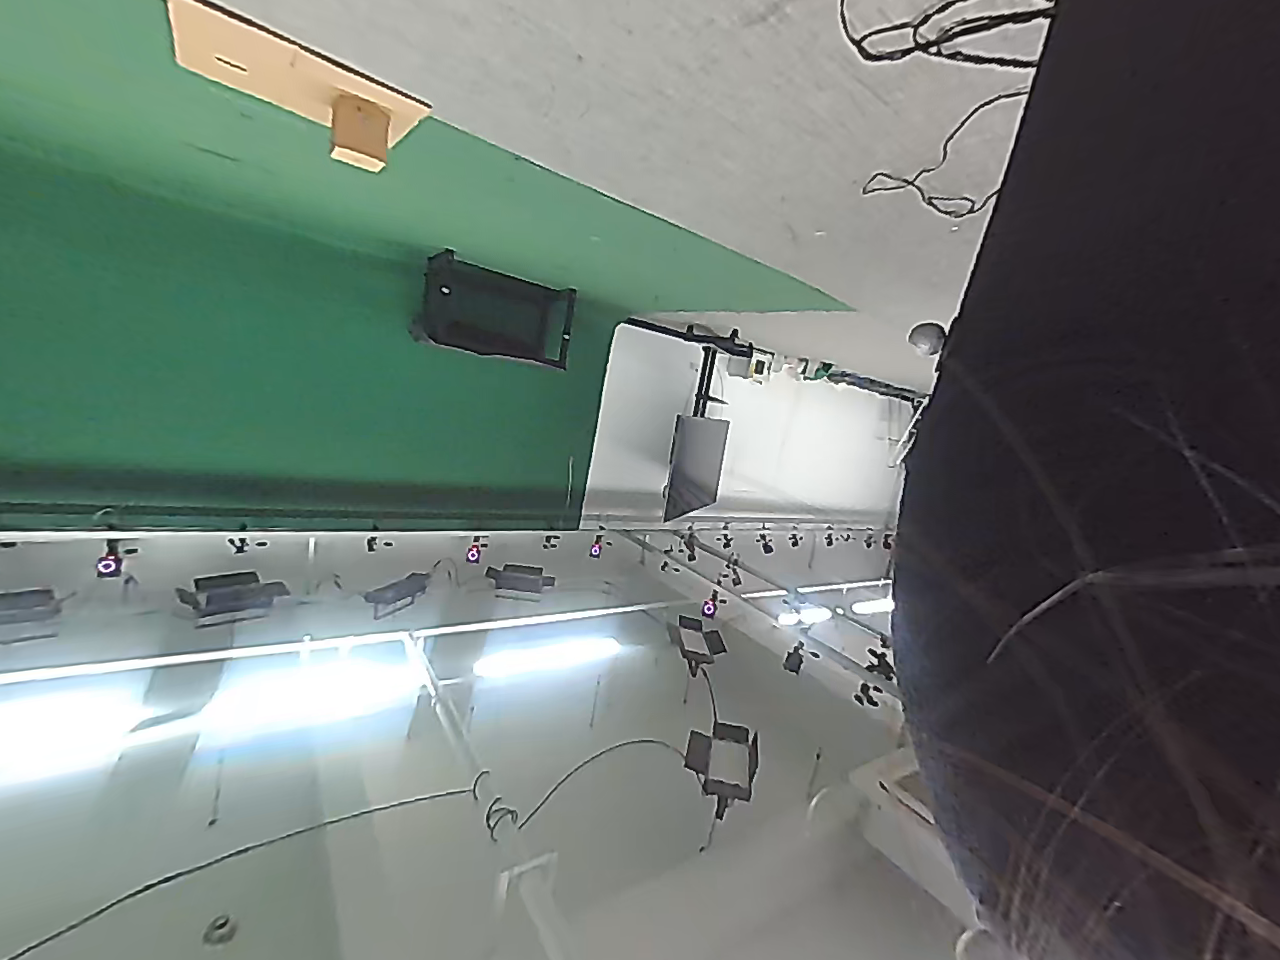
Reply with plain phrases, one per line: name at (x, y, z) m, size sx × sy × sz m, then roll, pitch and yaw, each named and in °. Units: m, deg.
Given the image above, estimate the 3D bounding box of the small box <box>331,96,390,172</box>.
small box at (-1.034, -1.277, 2.001) m, size 0.168 × 0.176 × 0.179 m, roll 2°, pitch -167°, yaw -37°
